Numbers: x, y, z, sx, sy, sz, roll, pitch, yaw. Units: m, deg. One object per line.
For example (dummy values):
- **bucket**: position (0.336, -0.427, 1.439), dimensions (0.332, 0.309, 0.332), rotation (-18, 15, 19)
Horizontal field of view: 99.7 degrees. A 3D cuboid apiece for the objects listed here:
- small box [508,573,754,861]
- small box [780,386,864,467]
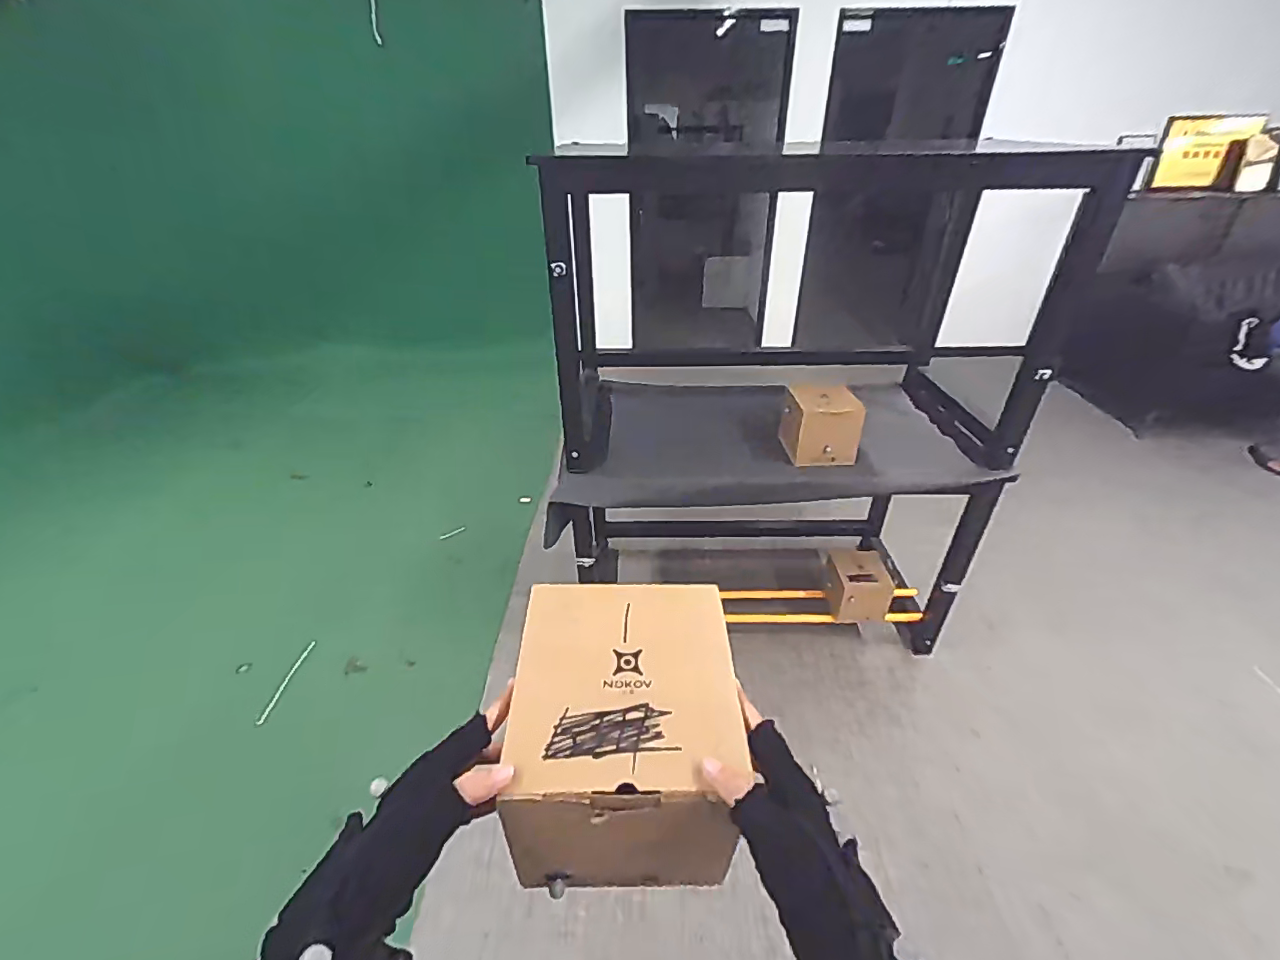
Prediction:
- **small box**: position (-0.008, 0.201, 0.464), dimensions (0.168, 0.176, 0.179), rotation (1, 36, -2)
- **small box**: position (0.497, -0.151, 1.506), dimensions (0.168, 0.176, 0.179), rotation (-2, 32, -1)
